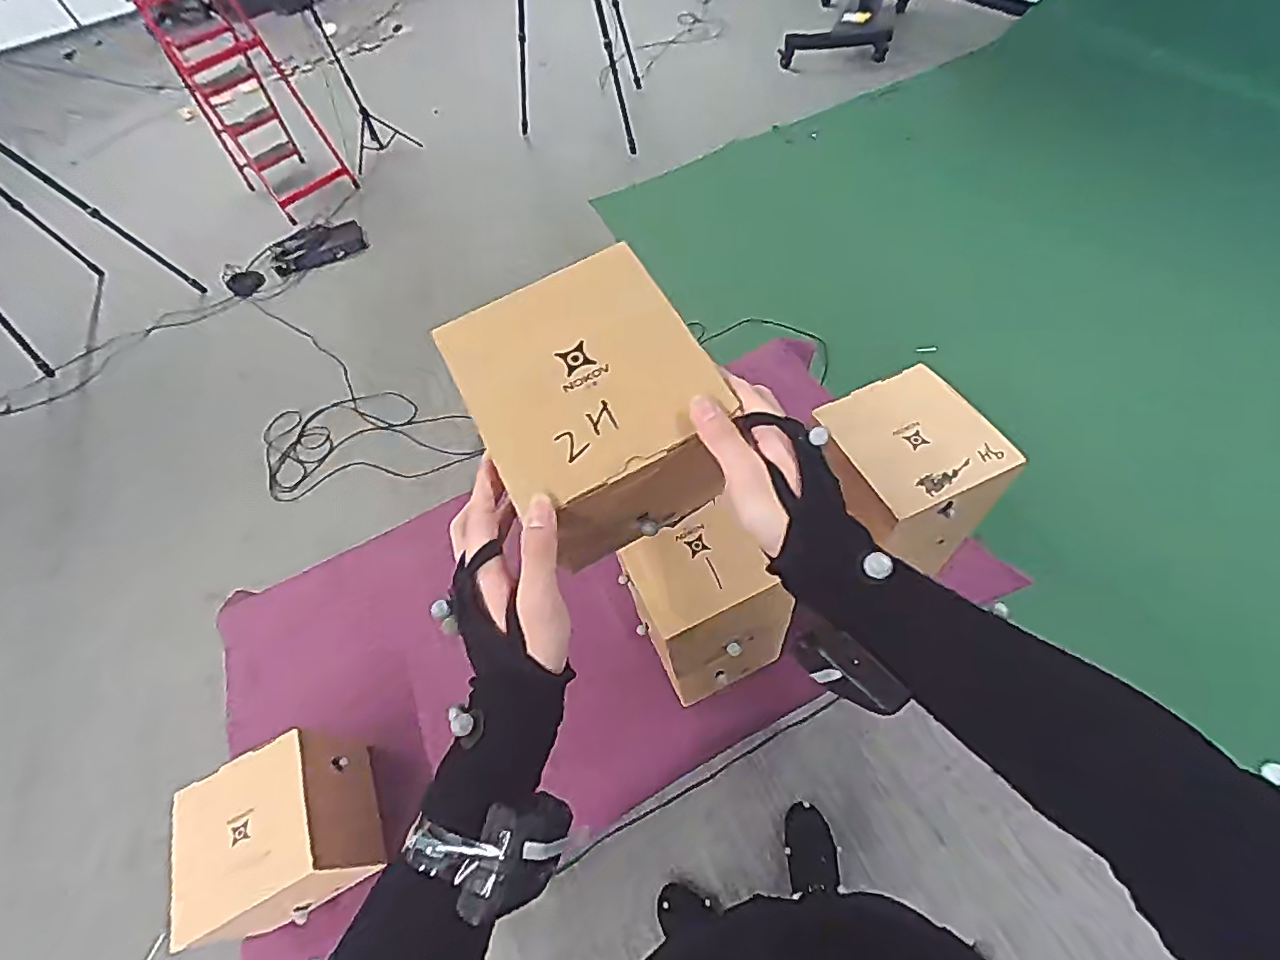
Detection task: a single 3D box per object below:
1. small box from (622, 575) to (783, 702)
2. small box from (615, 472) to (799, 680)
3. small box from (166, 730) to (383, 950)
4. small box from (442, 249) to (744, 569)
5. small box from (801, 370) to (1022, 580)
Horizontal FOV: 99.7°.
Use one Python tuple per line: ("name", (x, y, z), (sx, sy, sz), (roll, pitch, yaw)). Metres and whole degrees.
("small box", (0.093, 0.207, 0.798), (0.168, 0.176, 0.179), (-25, 55, -7))
("small box", (0.070, 0.116, 0.664), (0.168, 0.176, 0.179), (-25, 56, -7))
("small box", (-0.472, 0.467, 0.717), (0.168, 0.176, 0.179), (-27, 57, -8))
("small box", (-0.035, -0.047, 0.458), (0.168, 0.176, 0.179), (-27, 70, -6))
("small box", (0.325, -0.002, 0.694), (0.168, 0.176, 0.179), (-24, 56, -5))
